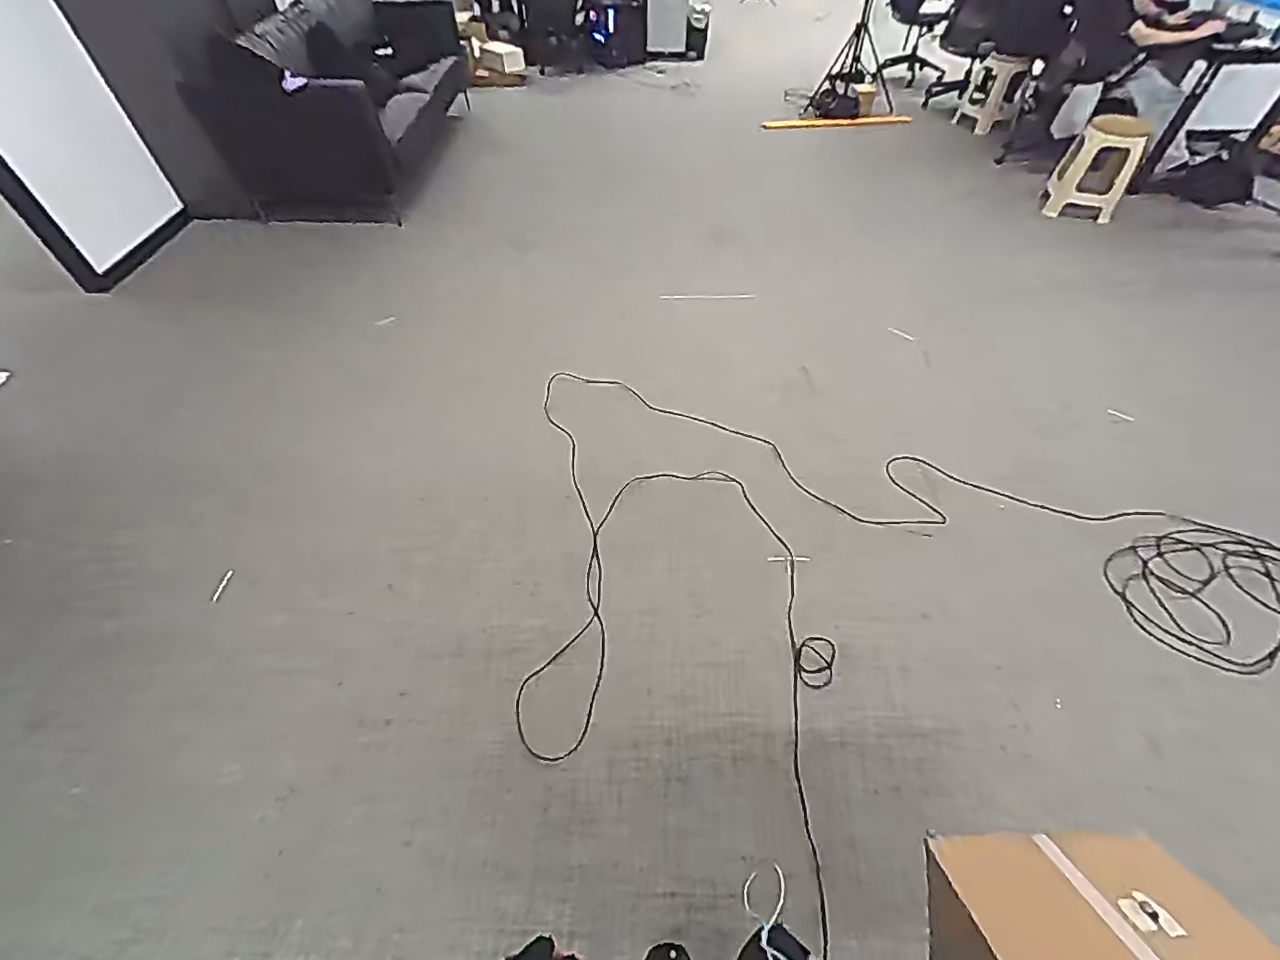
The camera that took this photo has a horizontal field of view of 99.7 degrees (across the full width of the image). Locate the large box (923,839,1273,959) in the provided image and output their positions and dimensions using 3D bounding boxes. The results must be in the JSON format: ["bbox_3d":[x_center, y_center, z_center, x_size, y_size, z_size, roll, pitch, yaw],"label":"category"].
[{"bbox_3d":[0.574,0.702,0.611,0.320,0.320,0.408,-3,5,4],"label":"large box"}]
